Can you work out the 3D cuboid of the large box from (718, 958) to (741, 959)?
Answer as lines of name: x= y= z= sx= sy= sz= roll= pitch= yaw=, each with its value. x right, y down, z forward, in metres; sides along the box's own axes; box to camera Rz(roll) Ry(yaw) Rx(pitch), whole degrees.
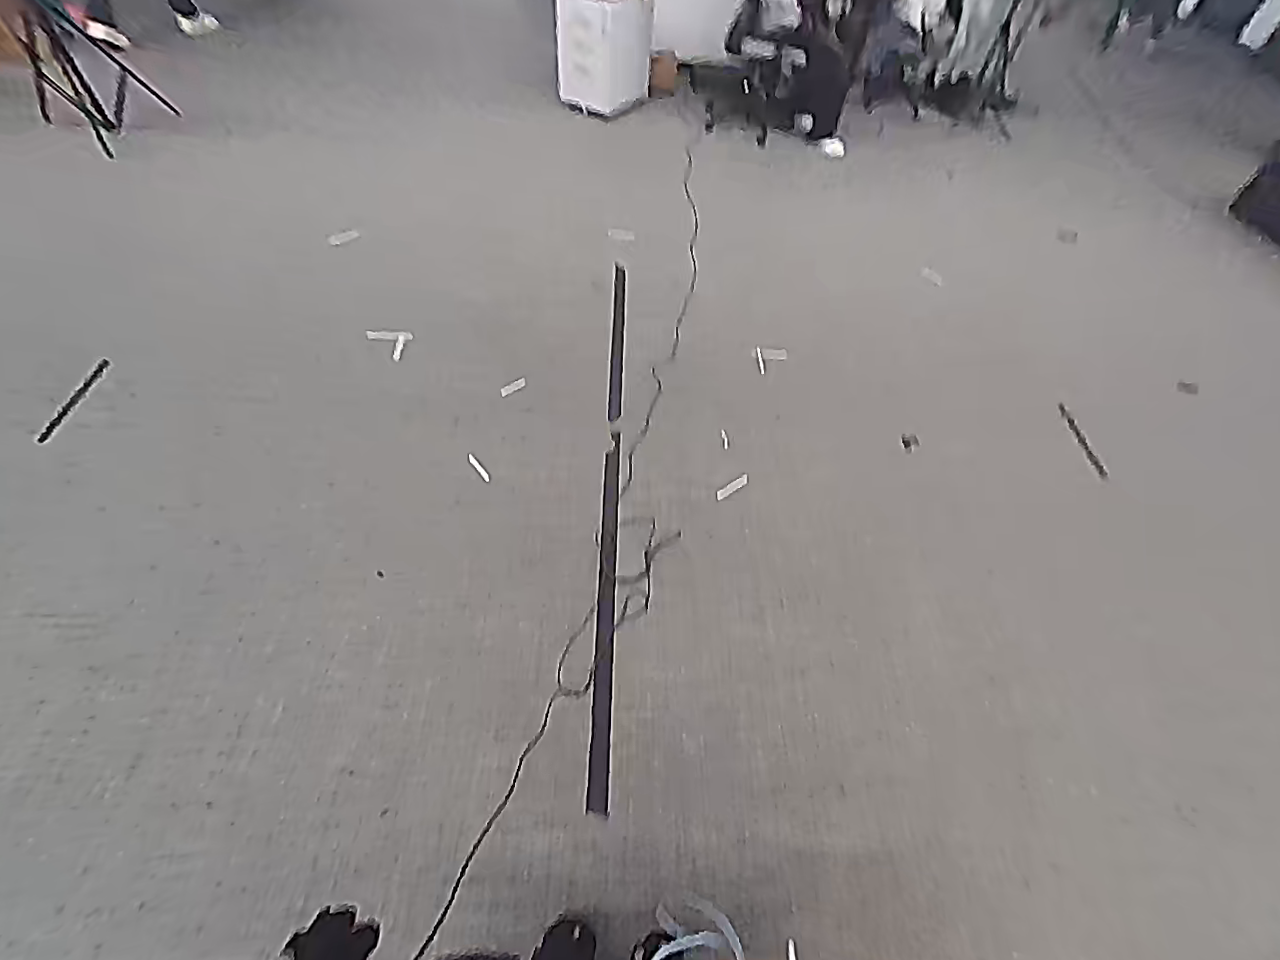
large box: x=0.291 y=0.800 z=0.626 sx=0.320 sy=0.408 sz=0.320 roll=11 pitch=55 yaw=-5
